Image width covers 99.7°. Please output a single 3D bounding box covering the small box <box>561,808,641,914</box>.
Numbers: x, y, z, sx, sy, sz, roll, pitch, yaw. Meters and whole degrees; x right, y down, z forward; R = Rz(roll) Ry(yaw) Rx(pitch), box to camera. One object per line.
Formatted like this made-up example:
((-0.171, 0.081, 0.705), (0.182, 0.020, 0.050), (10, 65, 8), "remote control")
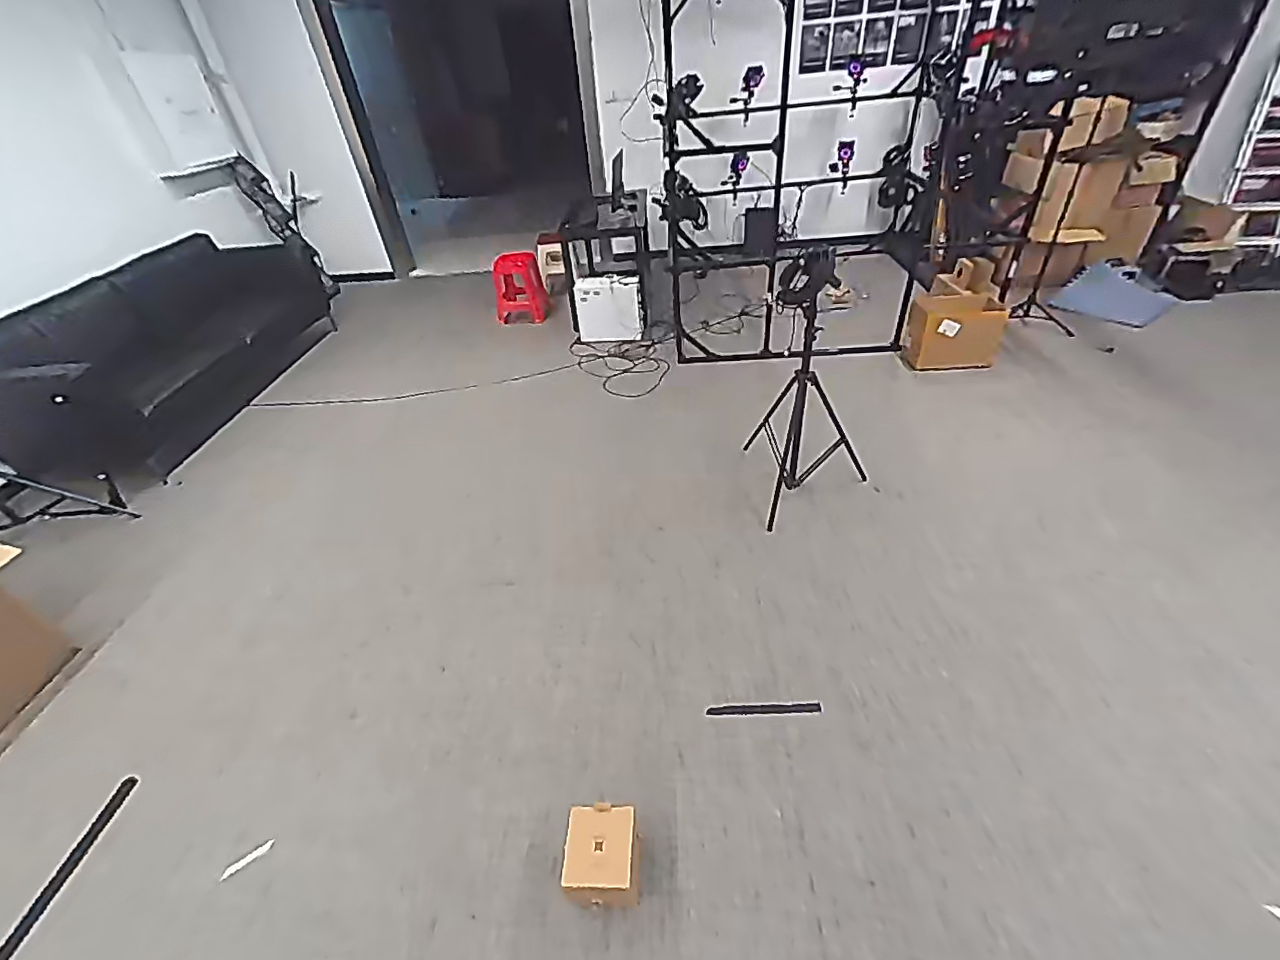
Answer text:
((-0.089, 0.950, 1.352), (0.168, 0.176, 0.179), (-3, 38, 6), "small box")
